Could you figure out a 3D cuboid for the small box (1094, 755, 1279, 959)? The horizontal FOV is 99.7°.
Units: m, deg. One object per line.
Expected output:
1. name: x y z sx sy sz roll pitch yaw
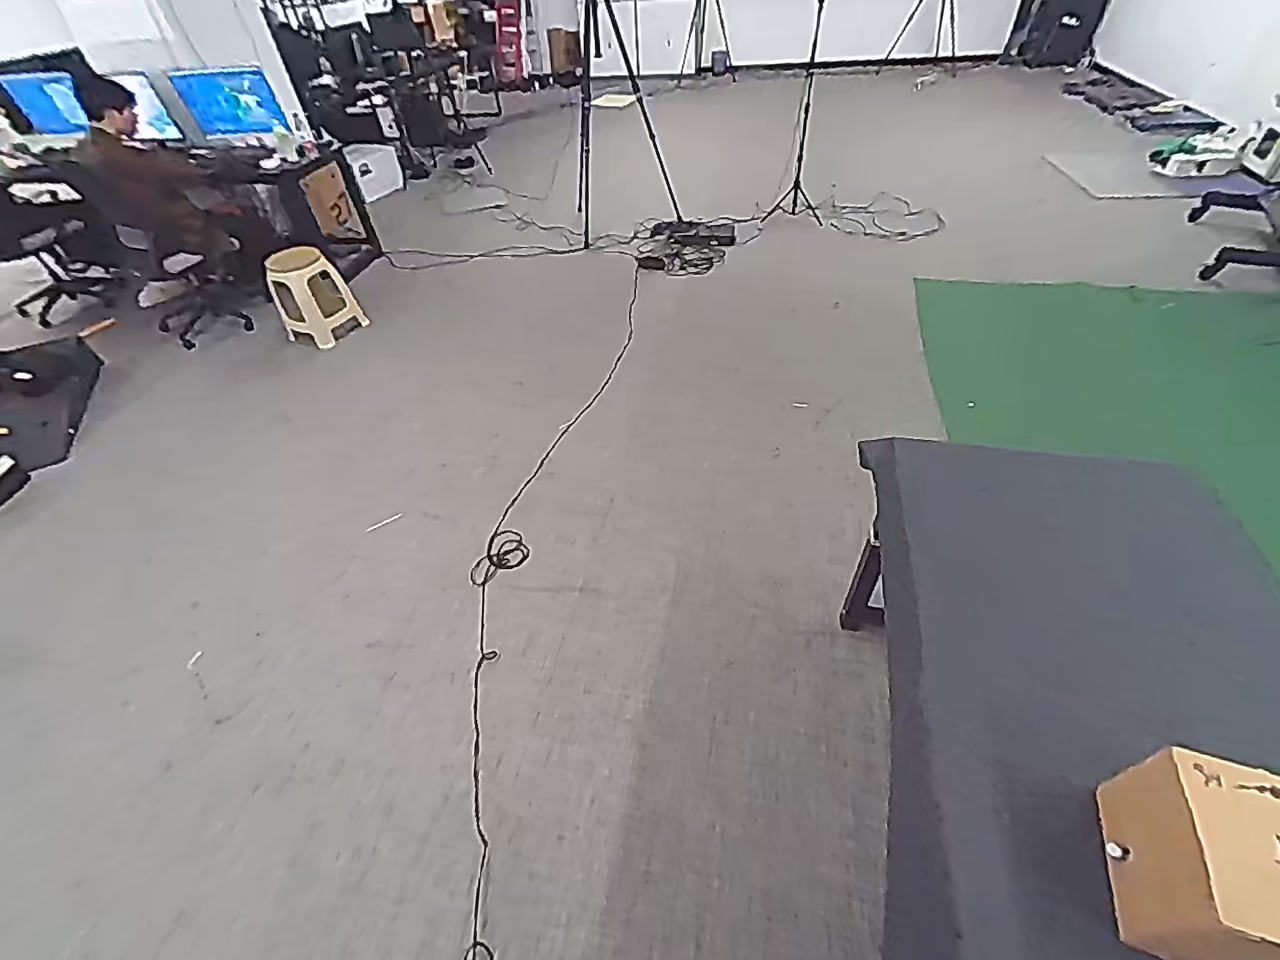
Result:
1. small box: 0.651 0.448 0.599 0.168 0.176 0.179 13 48 17
